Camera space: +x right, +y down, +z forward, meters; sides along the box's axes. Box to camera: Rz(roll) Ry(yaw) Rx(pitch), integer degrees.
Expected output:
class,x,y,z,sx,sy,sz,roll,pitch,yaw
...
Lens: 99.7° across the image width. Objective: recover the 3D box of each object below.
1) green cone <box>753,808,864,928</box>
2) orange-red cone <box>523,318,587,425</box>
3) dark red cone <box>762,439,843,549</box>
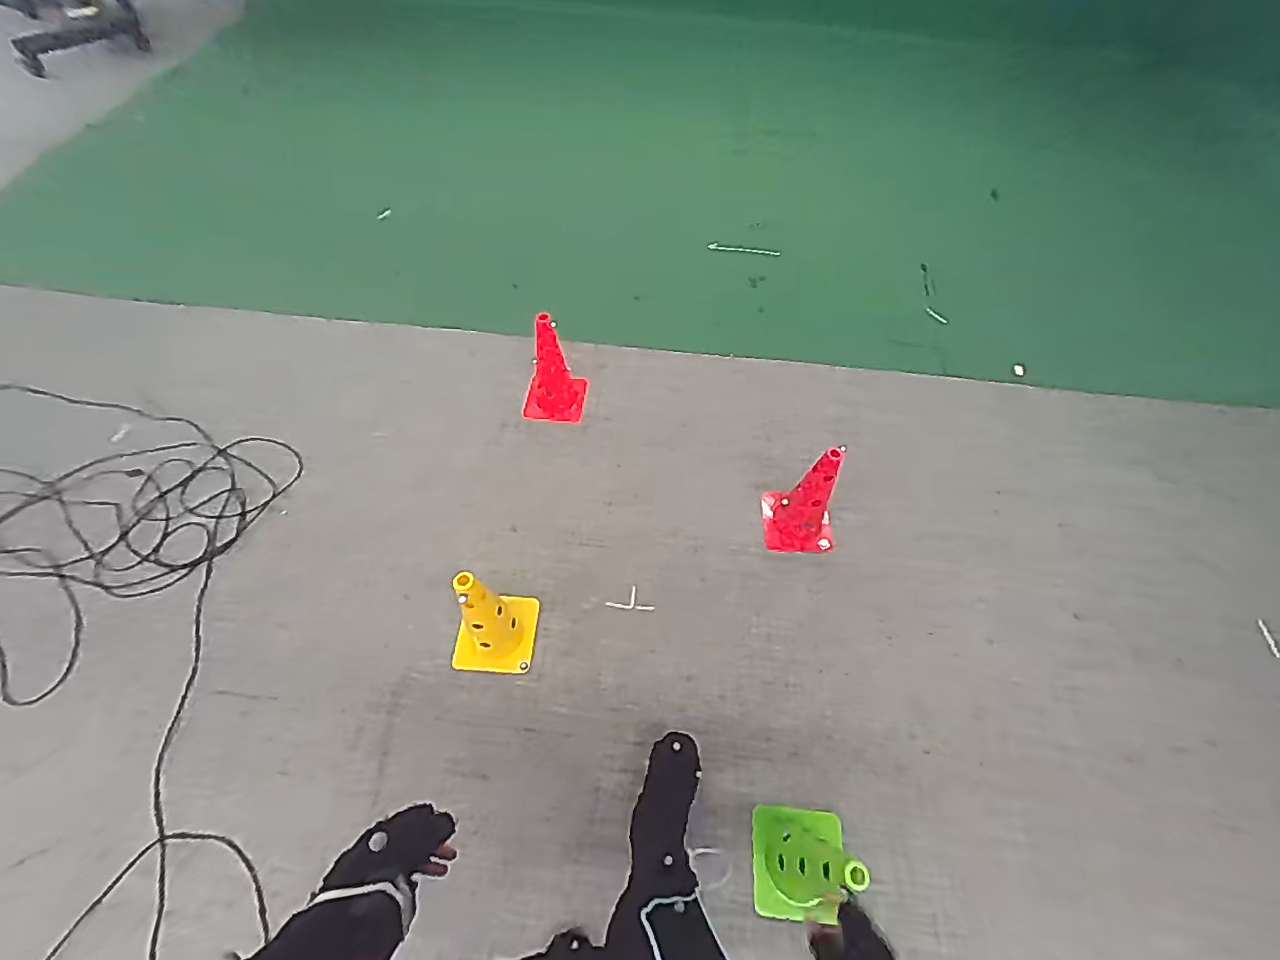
class,x,y,z,sx,sy,sz,roll,pitch,yaw
green cone,0.349,0.739,1.025,0.202,0.368,0.200,4,57,2
orange-red cone,-0.290,-0.365,1.724,0.198,0.360,0.199,6,58,3
dark red cone,0.471,0.024,1.464,0.202,0.394,0.201,1,56,-1
